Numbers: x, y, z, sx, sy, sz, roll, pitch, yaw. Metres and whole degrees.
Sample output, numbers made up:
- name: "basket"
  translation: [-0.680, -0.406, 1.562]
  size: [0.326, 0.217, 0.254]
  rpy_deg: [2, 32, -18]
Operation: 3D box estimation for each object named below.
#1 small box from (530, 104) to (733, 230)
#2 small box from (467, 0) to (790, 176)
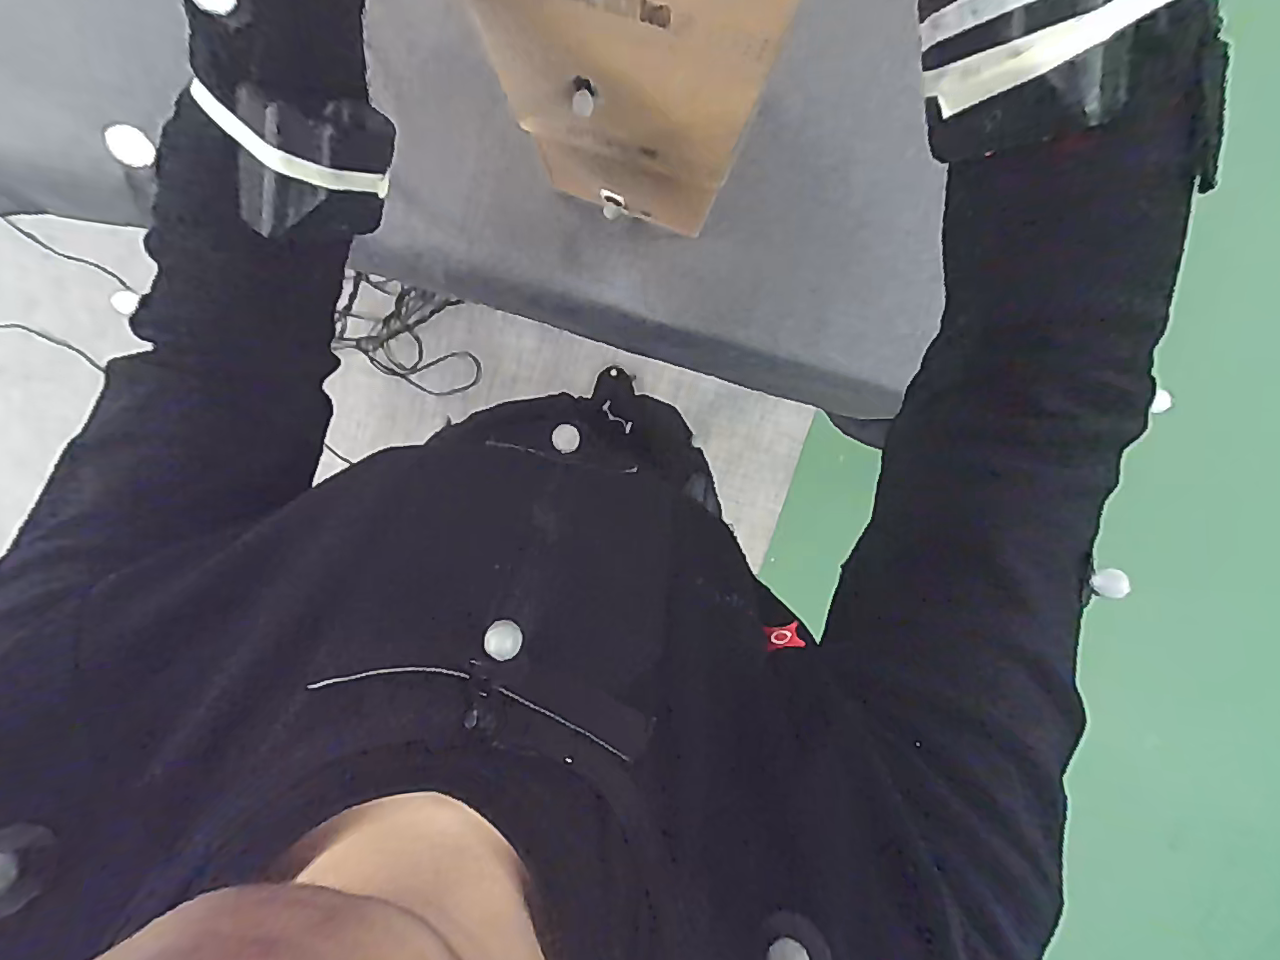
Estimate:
- name: "small box"
  translation: [0.014, -0.354, 0.484]
  size: [0.168, 0.176, 0.179]
  rpy_deg: [16, 101, -3]
- name: "small box"
  translation: [0.011, -0.318, 0.326]
  size: [0.168, 0.176, 0.179]
  rpy_deg: [15, 99, -3]
